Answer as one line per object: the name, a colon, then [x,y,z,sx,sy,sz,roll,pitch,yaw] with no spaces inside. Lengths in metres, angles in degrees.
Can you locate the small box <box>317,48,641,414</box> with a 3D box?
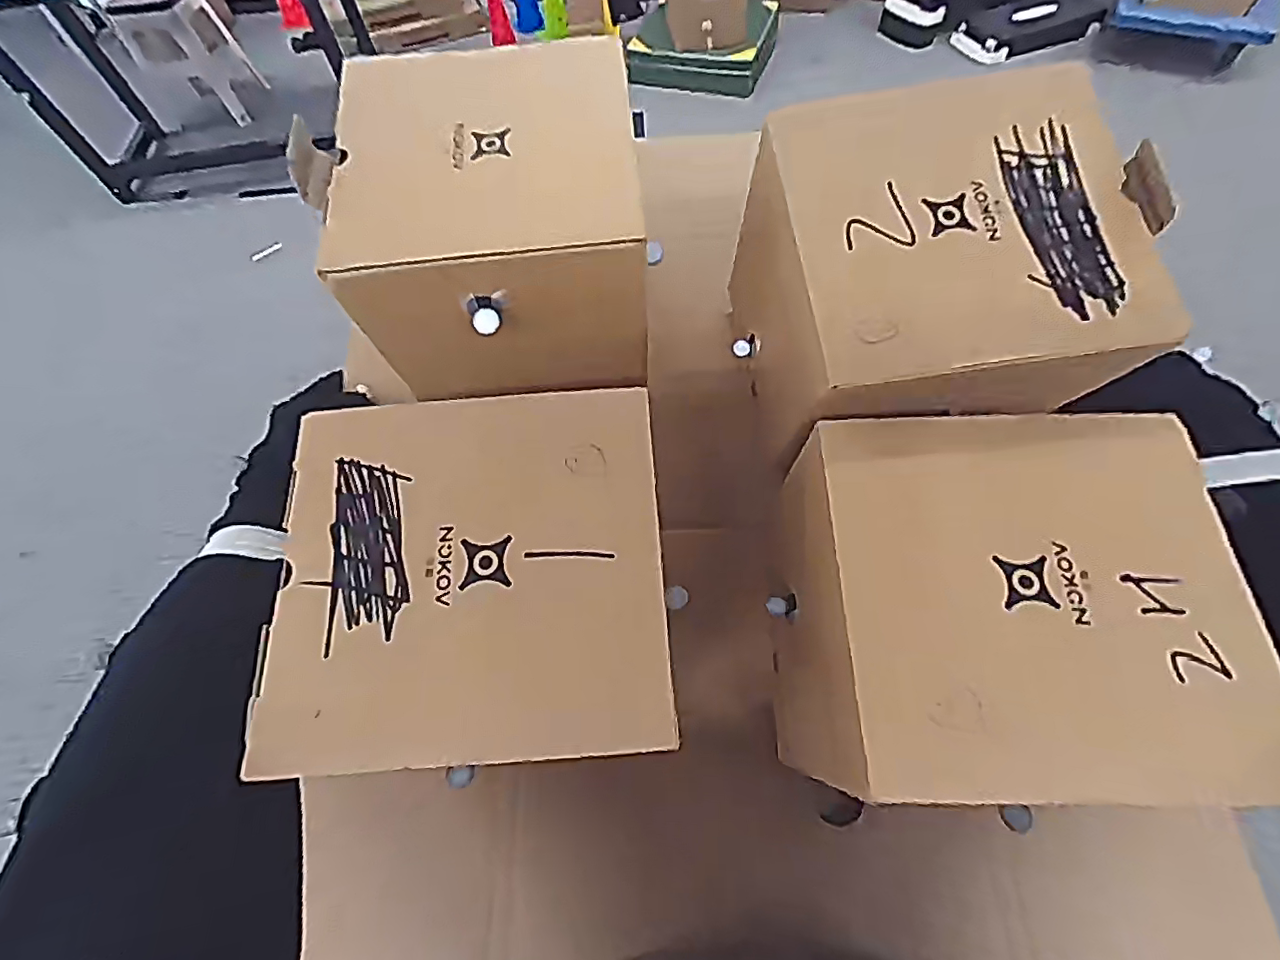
small box: [-0.092,-0.162,0.391,0.179,0.176,0.168,-6,69,0]
